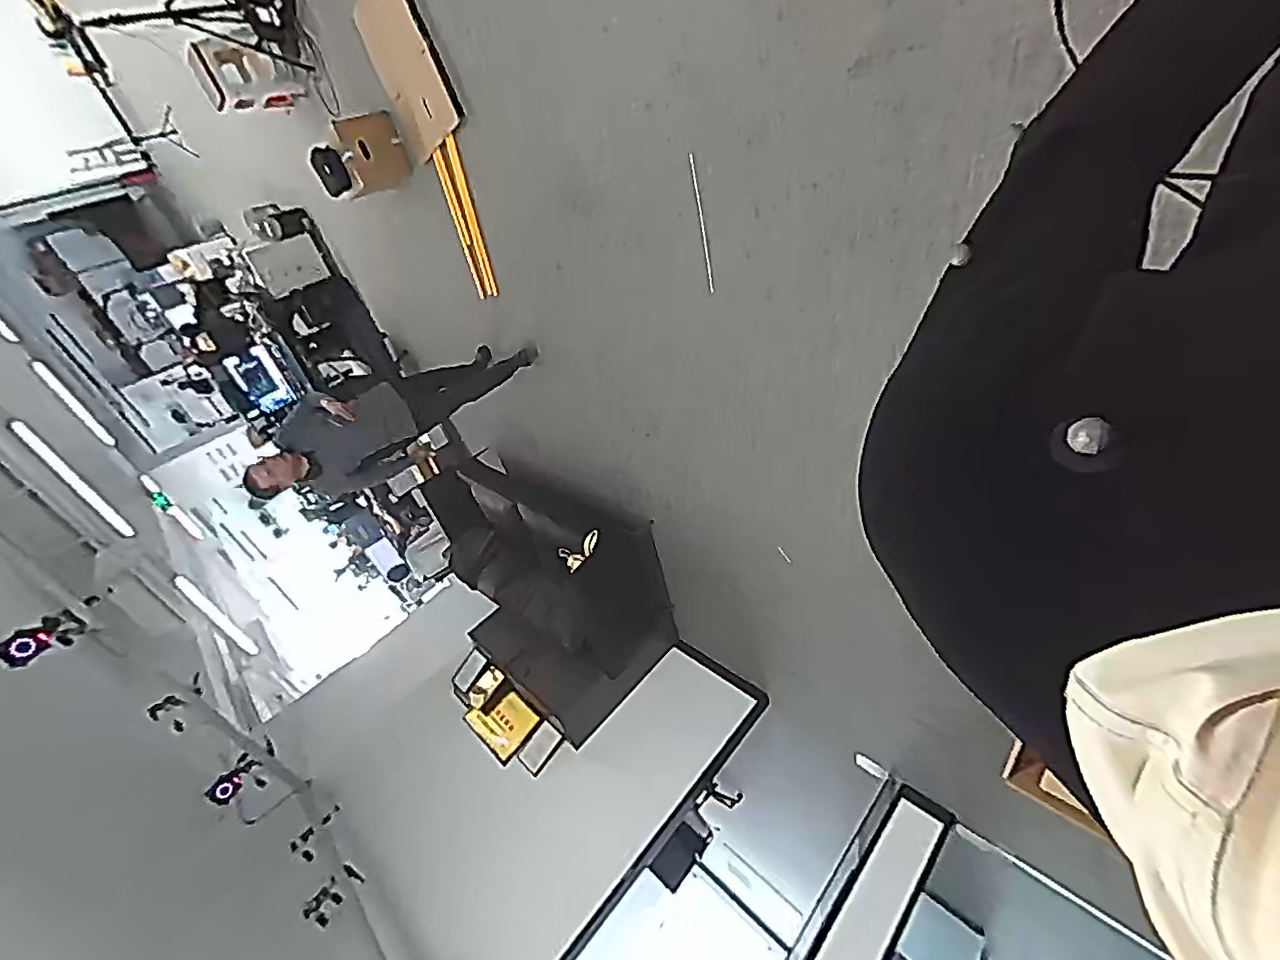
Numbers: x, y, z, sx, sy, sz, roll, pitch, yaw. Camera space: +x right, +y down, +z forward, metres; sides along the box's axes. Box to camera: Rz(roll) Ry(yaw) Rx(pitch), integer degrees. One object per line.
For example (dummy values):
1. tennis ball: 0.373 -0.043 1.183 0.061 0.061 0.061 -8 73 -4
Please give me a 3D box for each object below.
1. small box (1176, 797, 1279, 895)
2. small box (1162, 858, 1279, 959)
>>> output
1. small box: 1.428 0.903 1.280 0.168 0.176 0.179 24 141 39
2. small box: 1.317 0.993 1.200 0.168 0.176 0.179 25 141 37
